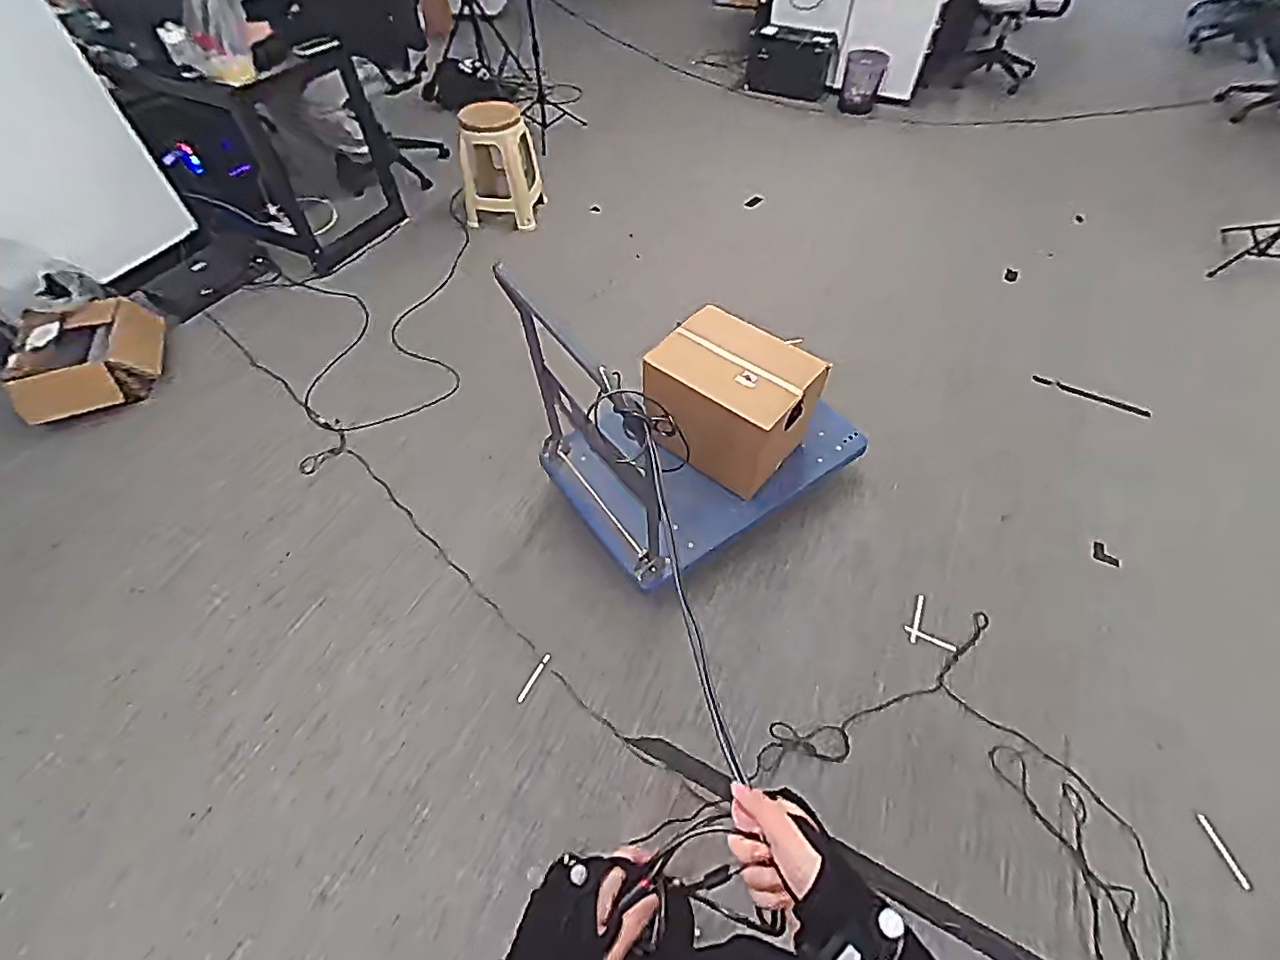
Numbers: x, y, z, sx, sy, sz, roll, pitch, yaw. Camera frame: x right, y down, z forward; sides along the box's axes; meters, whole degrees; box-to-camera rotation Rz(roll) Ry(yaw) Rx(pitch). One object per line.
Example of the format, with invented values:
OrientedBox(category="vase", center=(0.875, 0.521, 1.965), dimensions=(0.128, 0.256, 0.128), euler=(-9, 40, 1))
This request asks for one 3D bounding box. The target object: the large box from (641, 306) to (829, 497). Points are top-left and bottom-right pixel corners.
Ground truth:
OrientedBox(category="large box", center=(0.251, -0.226, 1.556), dimensions=(0.408, 0.320, 0.320), euler=(35, 62, 21))
